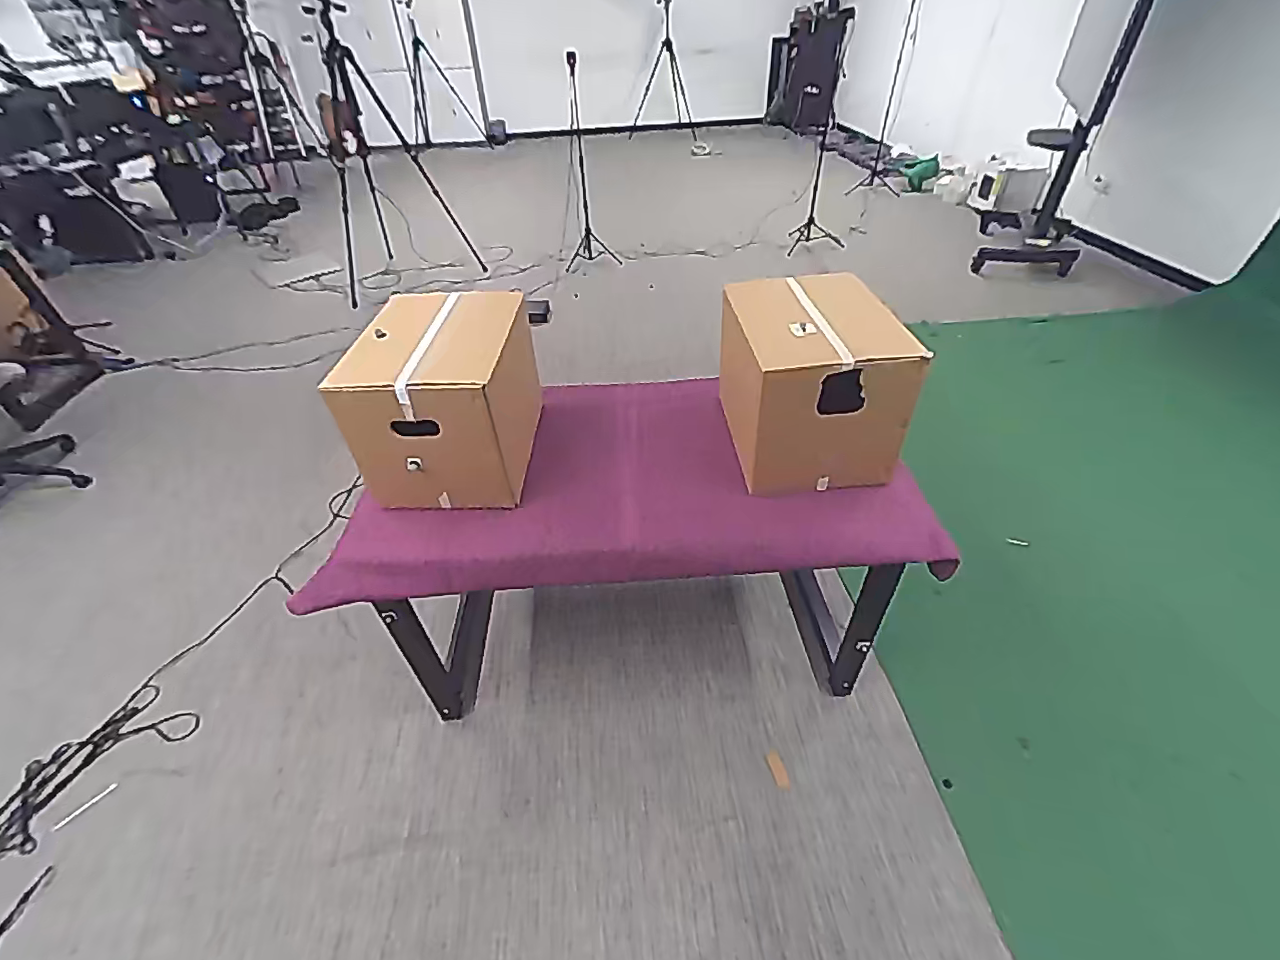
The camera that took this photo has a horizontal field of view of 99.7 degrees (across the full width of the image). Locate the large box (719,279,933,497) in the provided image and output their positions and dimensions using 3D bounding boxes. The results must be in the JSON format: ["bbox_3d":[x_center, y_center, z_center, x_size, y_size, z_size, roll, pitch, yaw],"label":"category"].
[{"bbox_3d":[0.369,-0.217,1.216,0.320,0.320,0.408,-6,42,0],"label":"large box"}]
